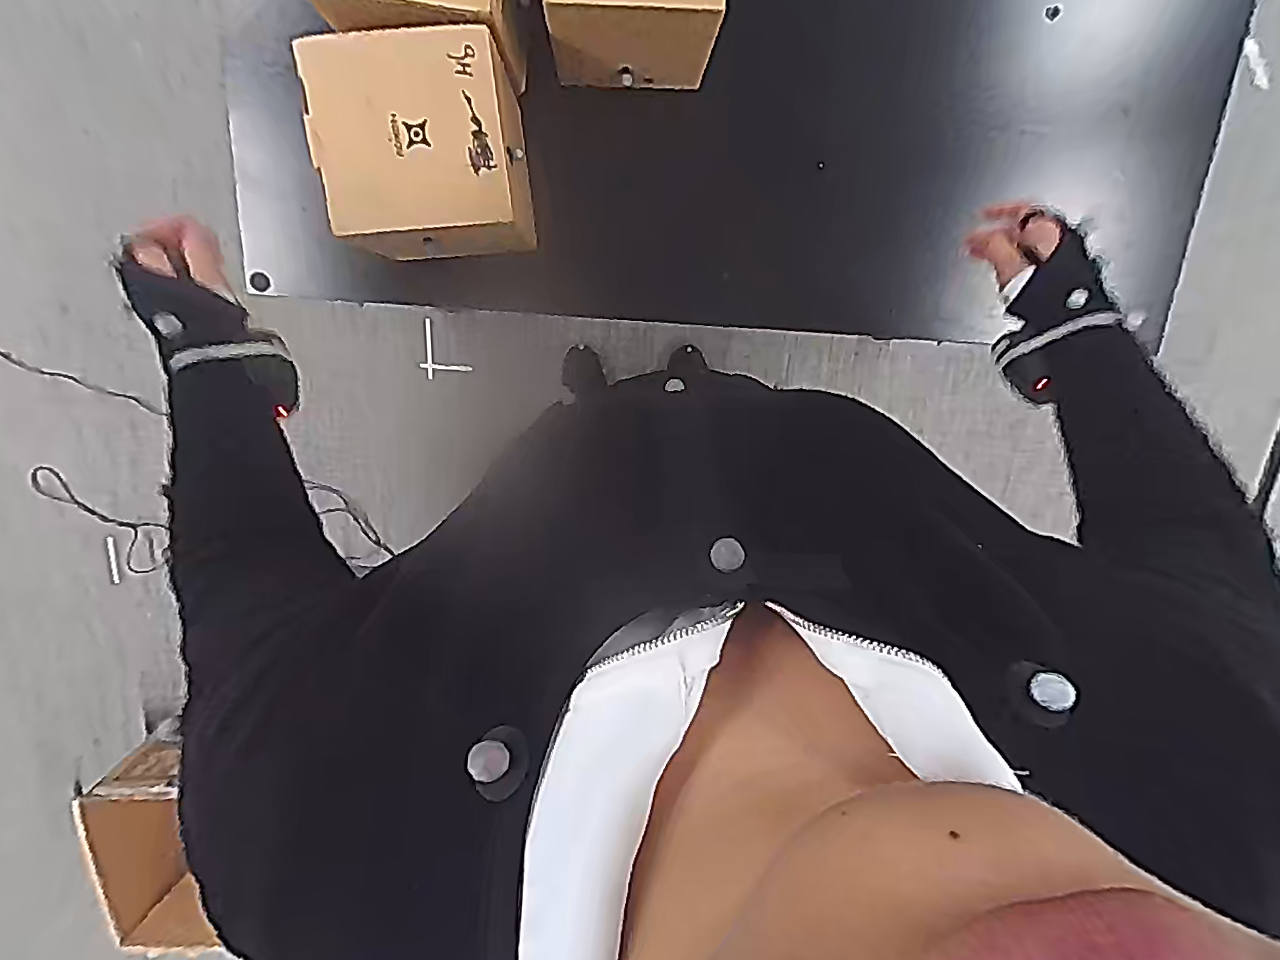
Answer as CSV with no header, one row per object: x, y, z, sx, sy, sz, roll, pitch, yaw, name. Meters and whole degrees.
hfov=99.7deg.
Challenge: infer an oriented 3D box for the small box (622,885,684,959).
0.037,1.474,1.776,0.179,0.176,0.168,7,102,-4,small box
